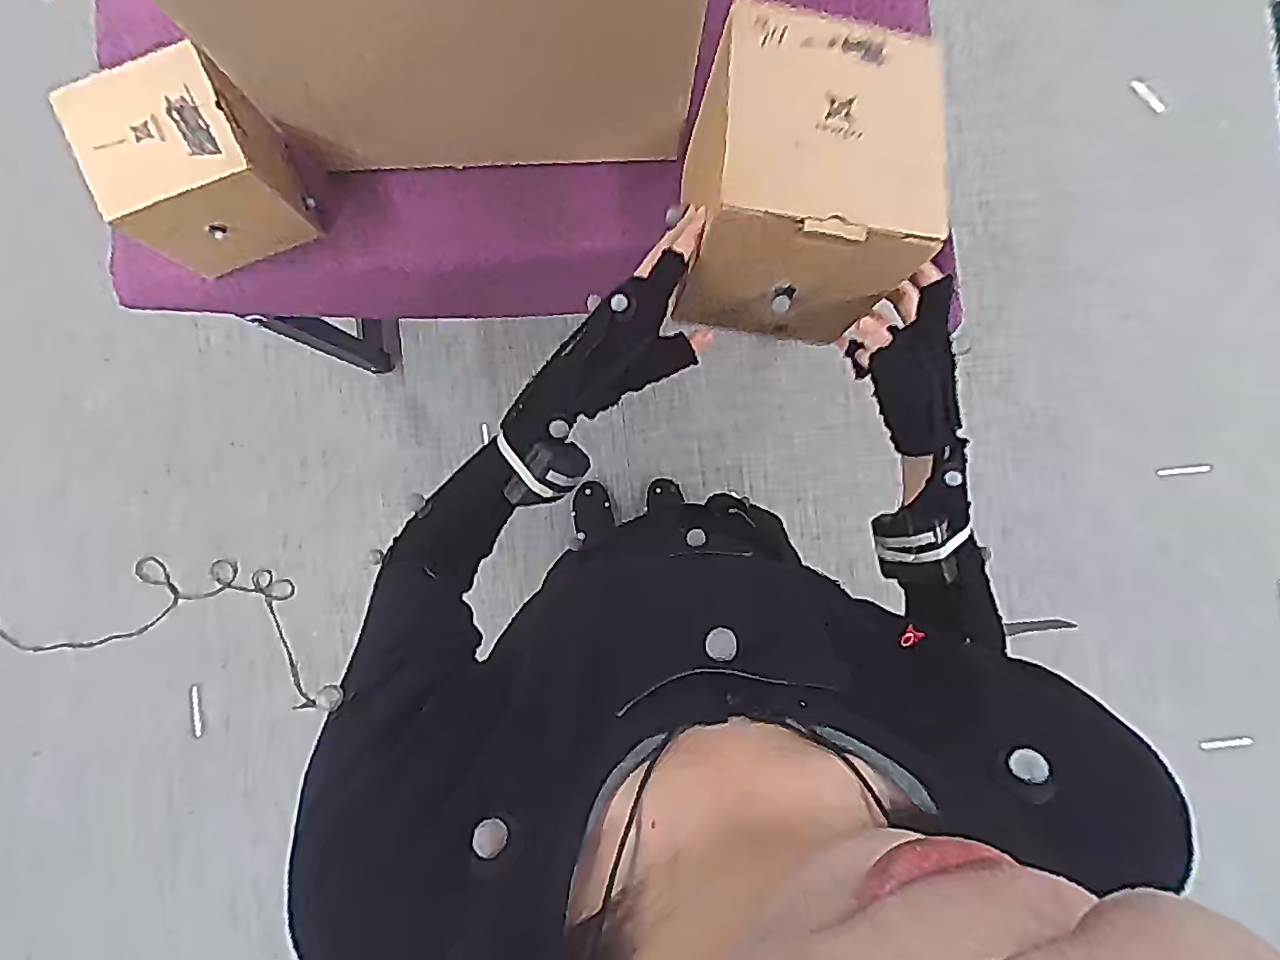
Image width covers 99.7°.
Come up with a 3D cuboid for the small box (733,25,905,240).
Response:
[{"bbox_3d":[0.226,-0.448,0.726,0.168,0.176,0.179,6,88,-2],"label":"small box"}]

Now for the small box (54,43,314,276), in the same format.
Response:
[{"bbox_3d":[-0.561,-0.397,0.700,0.179,0.176,0.168,-24,90,-3],"label":"small box"}]
